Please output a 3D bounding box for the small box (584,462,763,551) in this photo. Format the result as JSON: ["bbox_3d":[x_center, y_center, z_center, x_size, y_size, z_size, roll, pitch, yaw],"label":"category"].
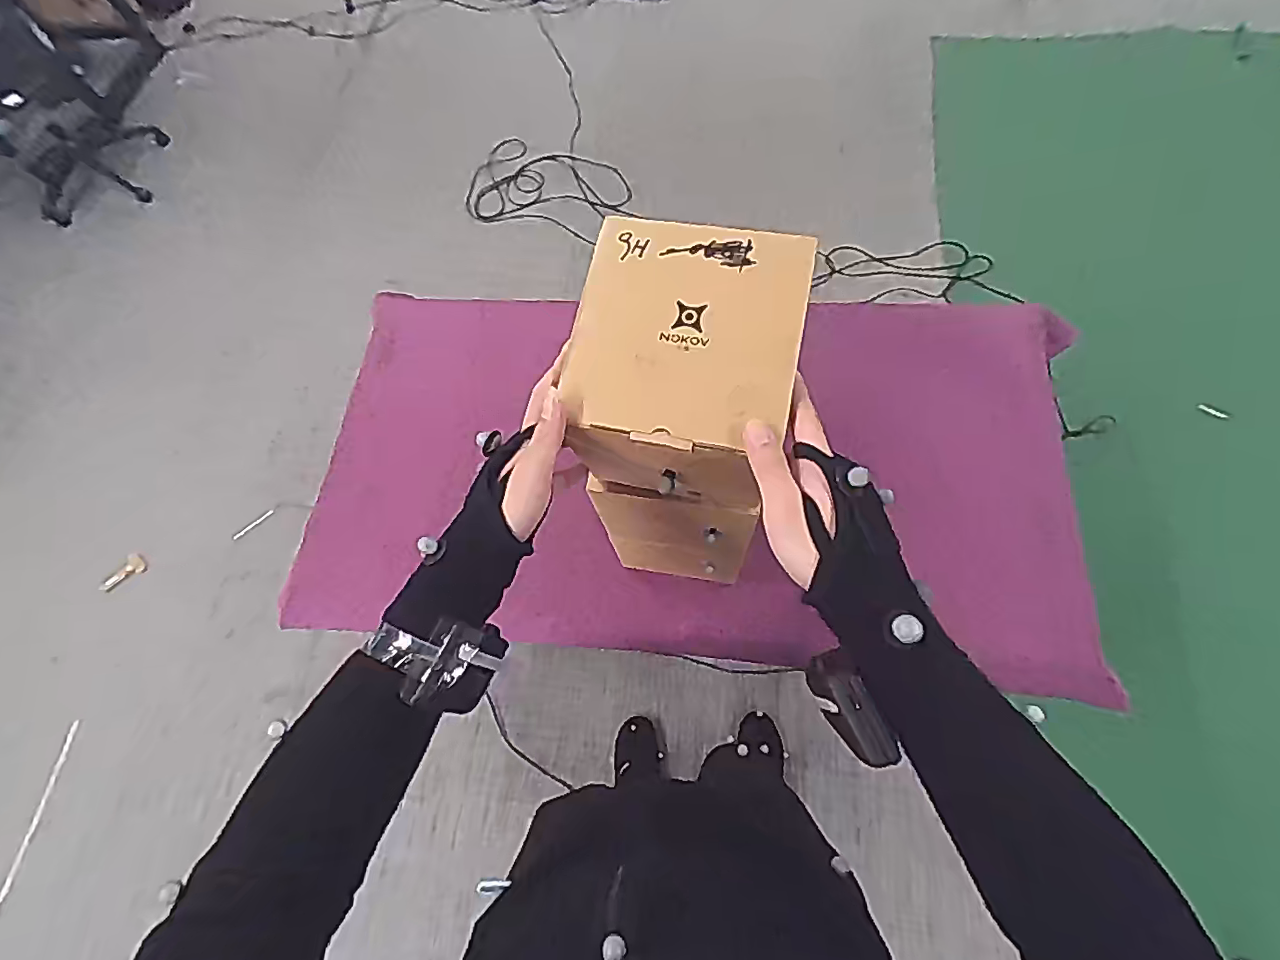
[{"bbox_3d":[0.049,-0.022,0.636,0.179,0.176,0.168,7,68,9],"label":"small box"}]

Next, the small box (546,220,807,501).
[{"bbox_3d":[0.038,-0.090,0.472,0.168,0.176,0.179,11,77,10],"label":"small box"}]
